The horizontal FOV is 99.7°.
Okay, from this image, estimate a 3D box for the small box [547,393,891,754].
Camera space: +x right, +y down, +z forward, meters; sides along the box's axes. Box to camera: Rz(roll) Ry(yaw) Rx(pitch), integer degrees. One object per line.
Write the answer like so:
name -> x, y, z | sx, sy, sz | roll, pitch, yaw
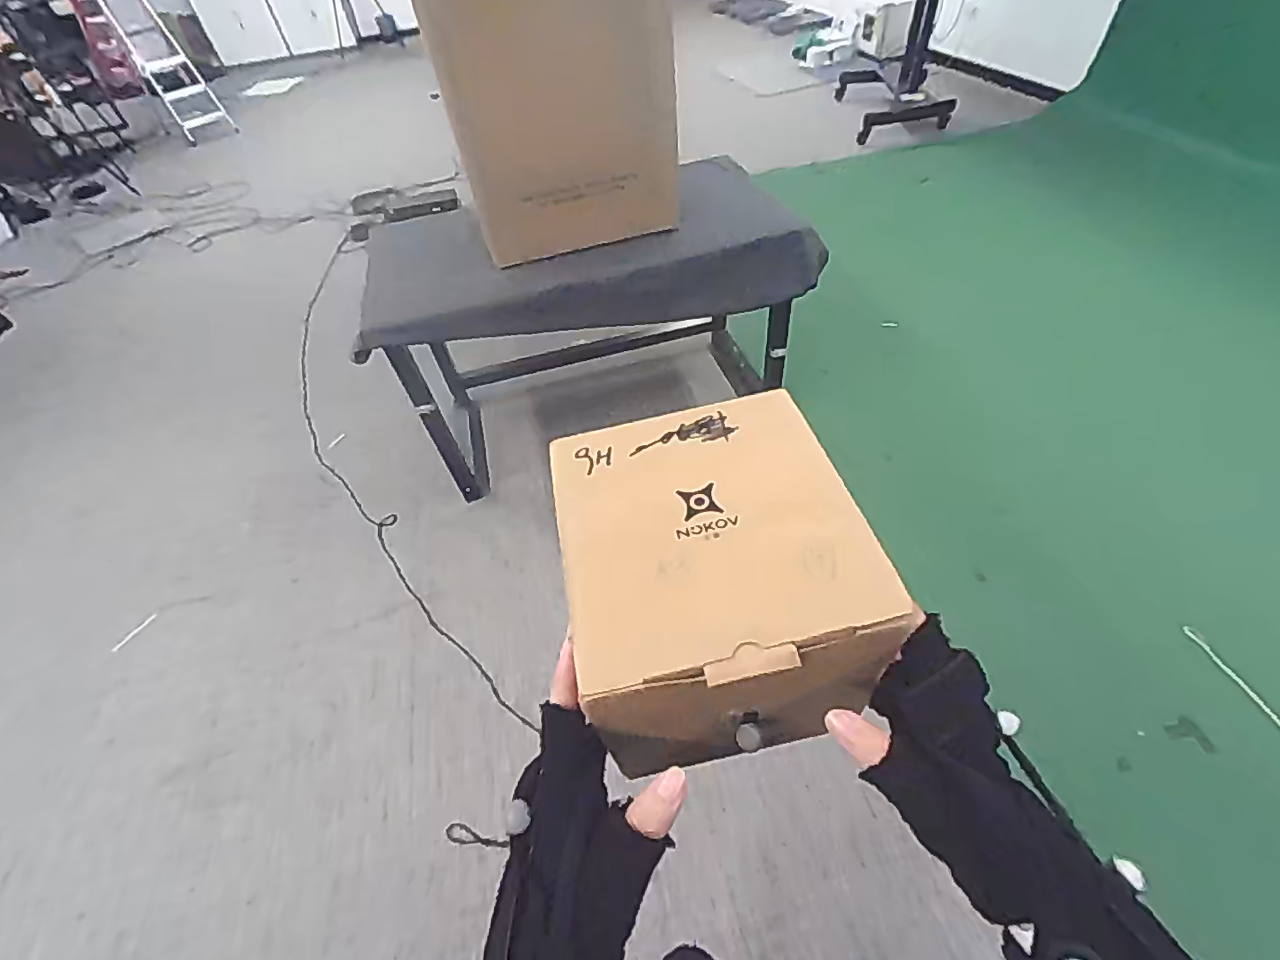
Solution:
small box -> 0.040, 0.072, 0.373 | 0.168, 0.176, 0.179 | -12, 50, -1
